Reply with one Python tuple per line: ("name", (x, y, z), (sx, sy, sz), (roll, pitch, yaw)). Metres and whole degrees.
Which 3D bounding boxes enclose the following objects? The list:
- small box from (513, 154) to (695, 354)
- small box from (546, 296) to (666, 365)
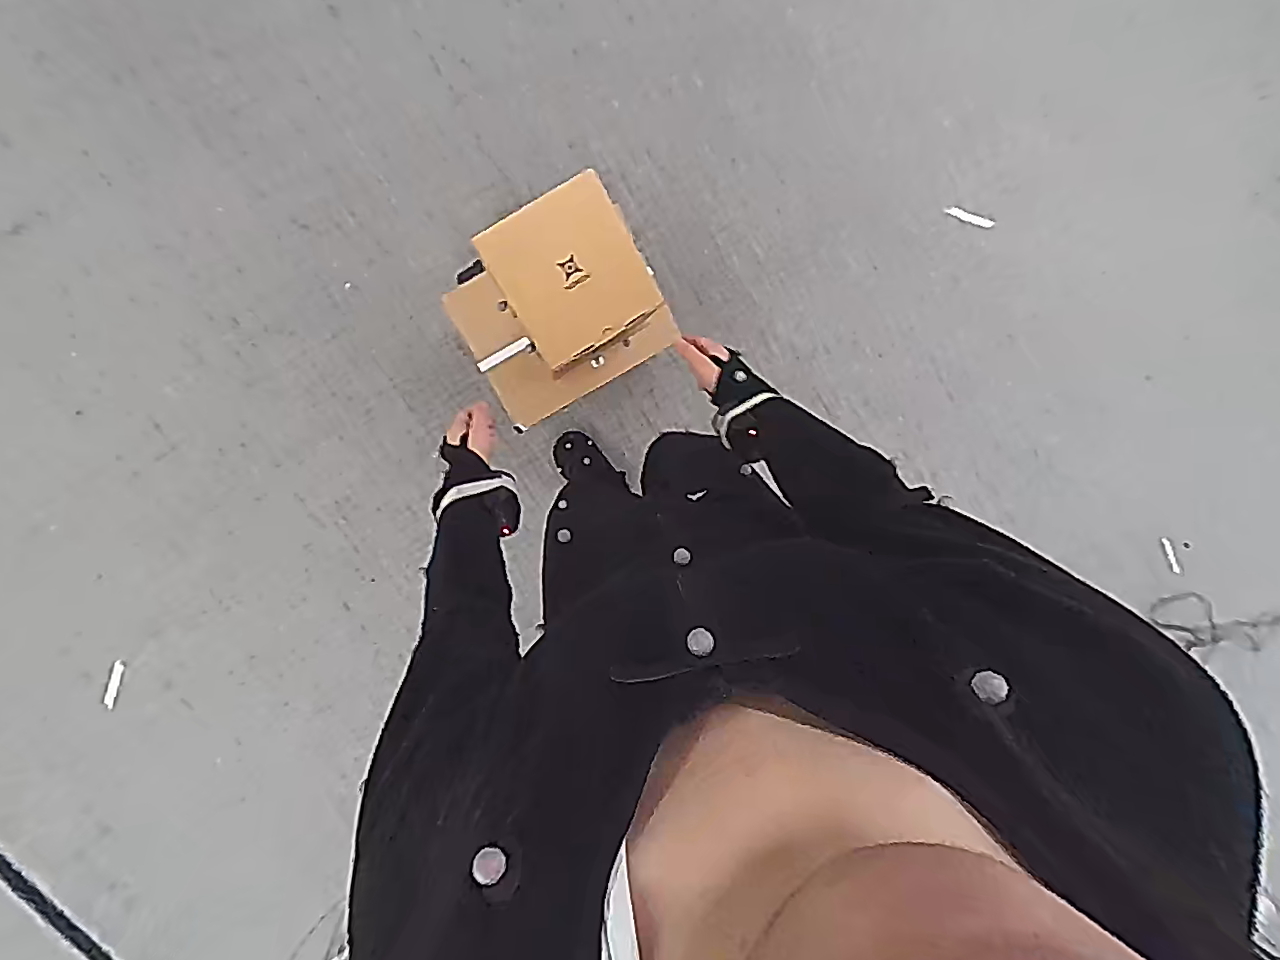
("small box", (-0.050, -0.284, 0.723), (0.168, 0.176, 0.179), (-28, 102, -1))
("small box", (-0.071, -0.333, 1.046), (0.179, 0.176, 0.168), (-29, 102, -1))
